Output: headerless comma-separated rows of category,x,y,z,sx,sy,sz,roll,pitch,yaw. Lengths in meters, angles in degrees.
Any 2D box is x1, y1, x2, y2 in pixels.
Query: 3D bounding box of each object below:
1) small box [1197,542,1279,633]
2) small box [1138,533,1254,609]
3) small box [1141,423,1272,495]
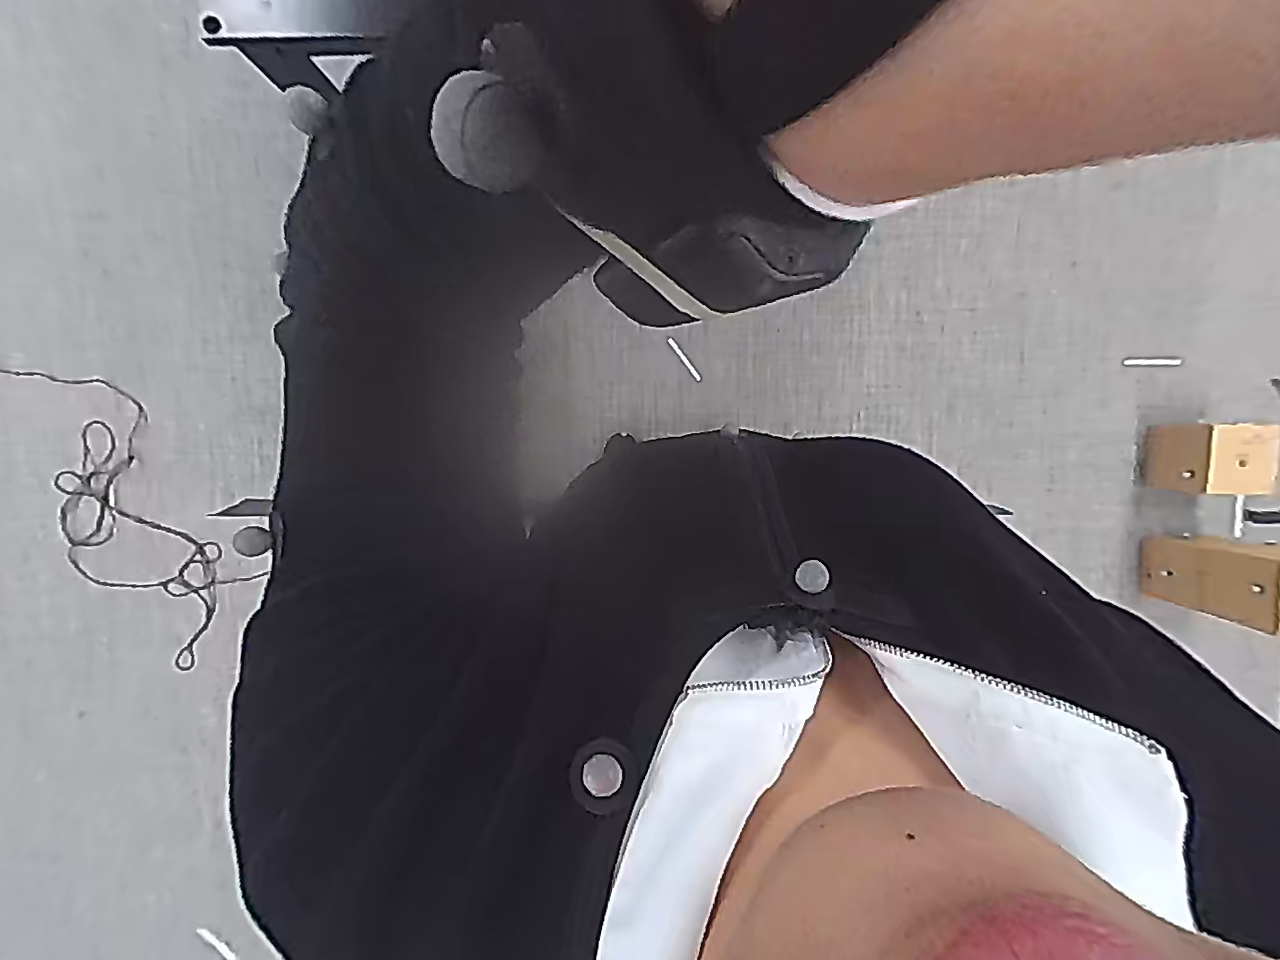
small box,1.480,0.245,1.276,0.168,0.176,0.179,-3,95,0
small box,1.484,0.238,1.441,0.179,0.176,0.168,-3,95,1
small box,1.468,-0.059,1.414,0.168,0.176,0.179,1,94,0
